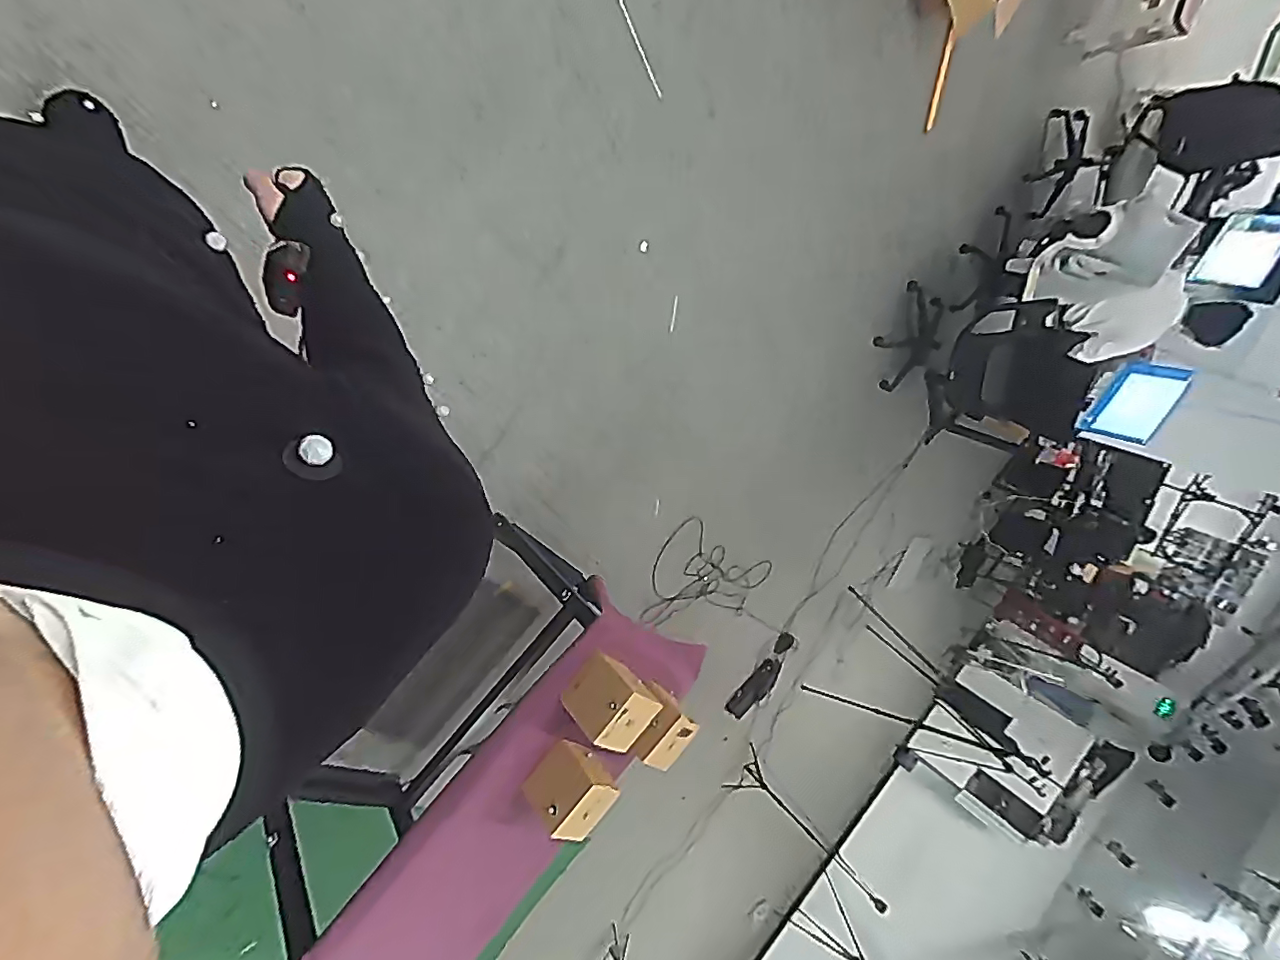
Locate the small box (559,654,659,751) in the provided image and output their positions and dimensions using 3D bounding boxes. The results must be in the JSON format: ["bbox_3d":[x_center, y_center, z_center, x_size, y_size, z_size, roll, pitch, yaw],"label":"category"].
[{"bbox_3d":[-0.086,0.605,1.478,0.168,0.176,0.179,-50,139,-7],"label":"small box"}]

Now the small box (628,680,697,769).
[{"bbox_3d":[0.040,0.760,1.690,0.179,0.176,0.168,-48,136,-8],"label":"small box"}]

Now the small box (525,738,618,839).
[{"bbox_3d":[-0.203,0.879,1.541,0.179,0.176,0.168,-48,137,-9],"label":"small box"}]
